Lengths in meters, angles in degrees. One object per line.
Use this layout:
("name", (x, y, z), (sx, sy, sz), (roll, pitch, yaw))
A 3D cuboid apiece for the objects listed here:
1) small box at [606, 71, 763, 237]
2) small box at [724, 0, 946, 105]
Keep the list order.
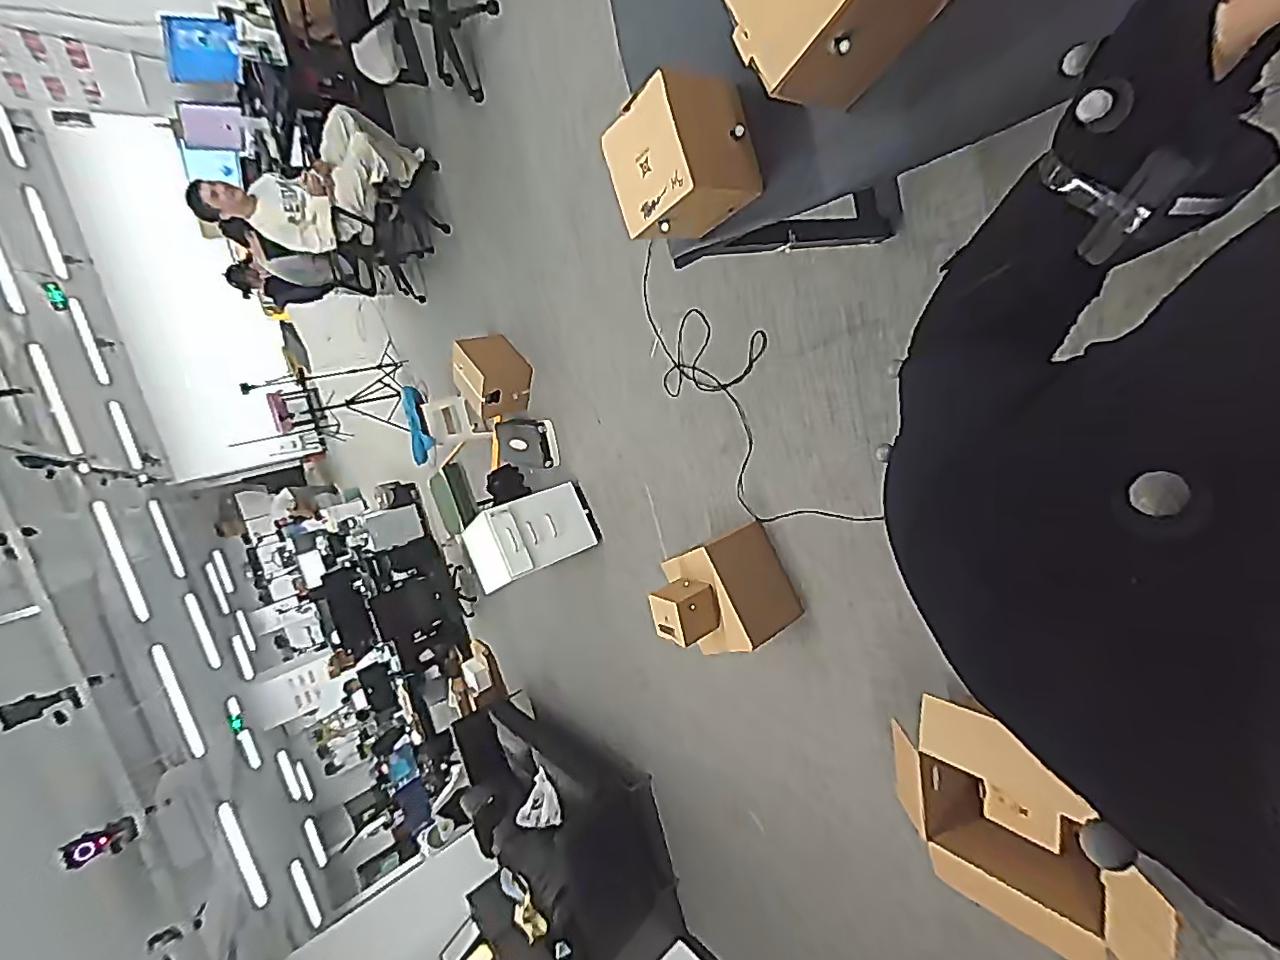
("small box", (0.075, -0.524, 0.898), (0.168, 0.176, 0.179), (-11, 97, 55))
("small box", (0.234, -0.591, 0.649), (0.179, 0.176, 0.168), (-29, 83, 55))
